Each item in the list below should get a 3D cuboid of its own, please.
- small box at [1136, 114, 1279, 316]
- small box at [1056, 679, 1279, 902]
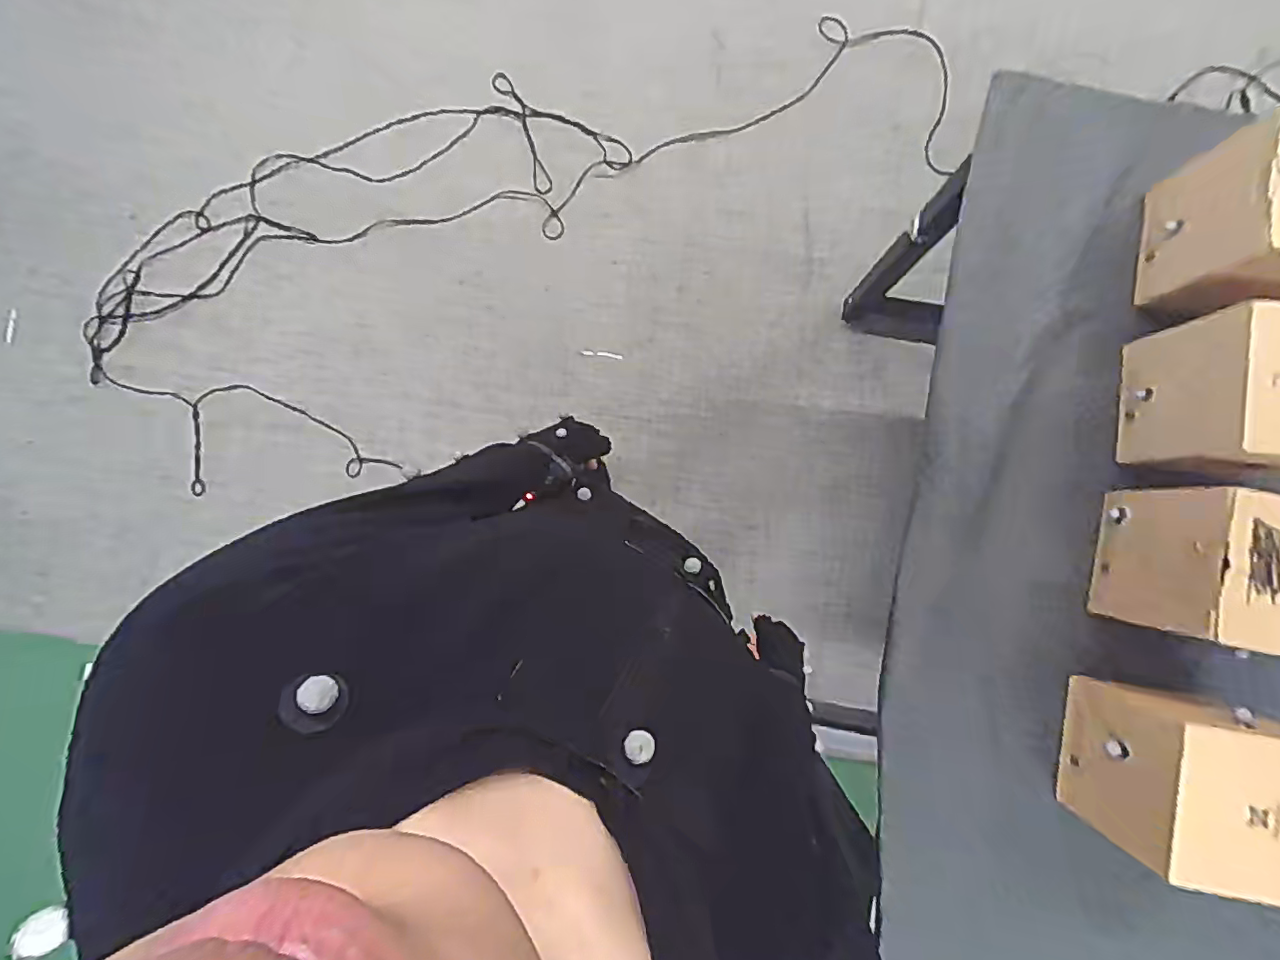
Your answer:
[{"bbox_3d":[0.771,-0.311,0.655,0.179,0.176,0.168,9,88,3],"label":"small box"},{"bbox_3d":[0.638,0.349,0.635,0.179,0.176,0.168,9,88,2],"label":"small box"}]
